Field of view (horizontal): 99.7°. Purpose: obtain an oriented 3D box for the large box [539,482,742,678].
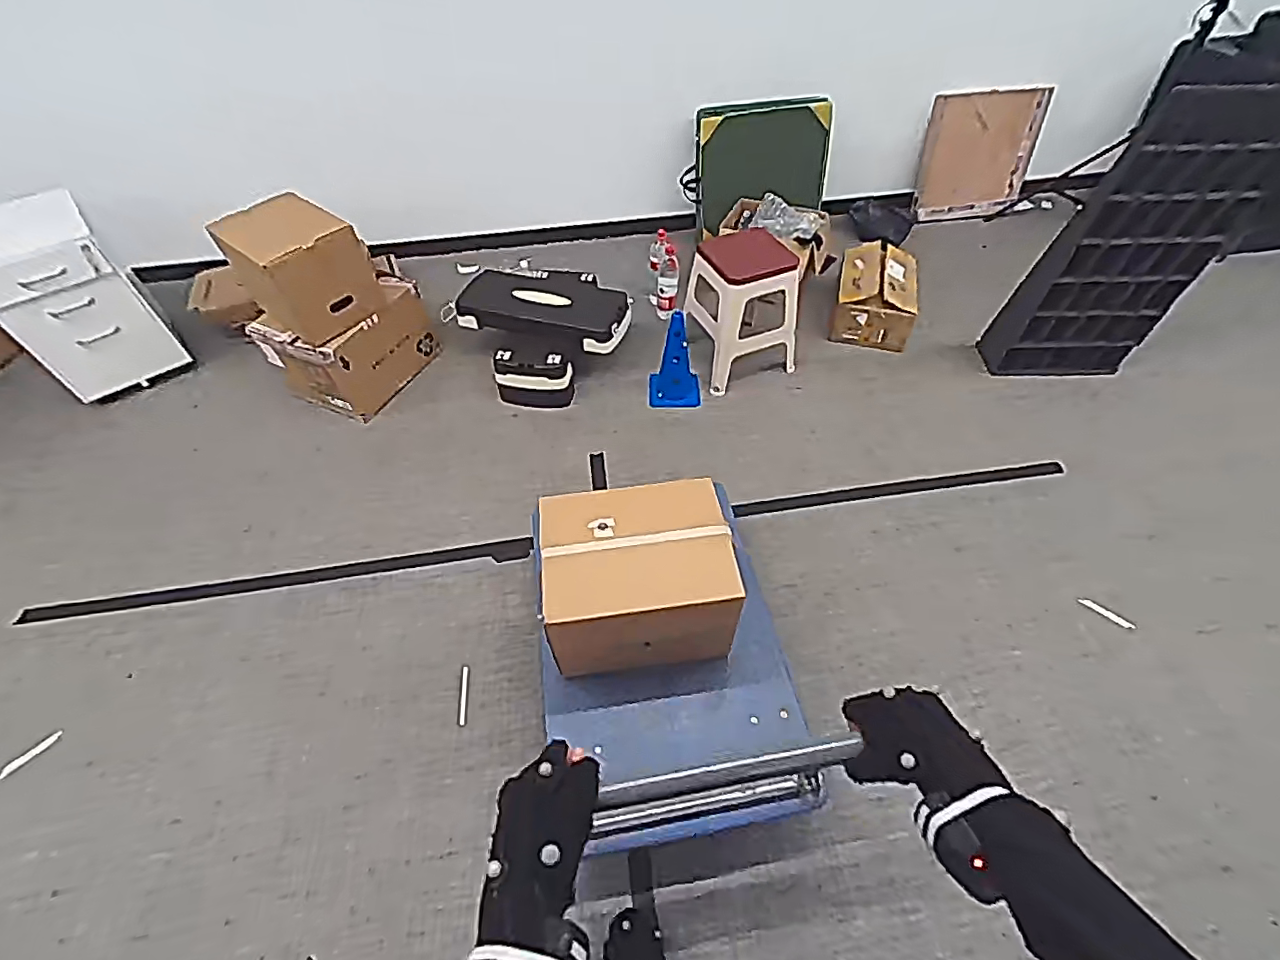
[{"bbox_3d":[-0.006,0.242,1.276,0.408,0.320,0.320,-8,51,-4],"label":"large box"}]
